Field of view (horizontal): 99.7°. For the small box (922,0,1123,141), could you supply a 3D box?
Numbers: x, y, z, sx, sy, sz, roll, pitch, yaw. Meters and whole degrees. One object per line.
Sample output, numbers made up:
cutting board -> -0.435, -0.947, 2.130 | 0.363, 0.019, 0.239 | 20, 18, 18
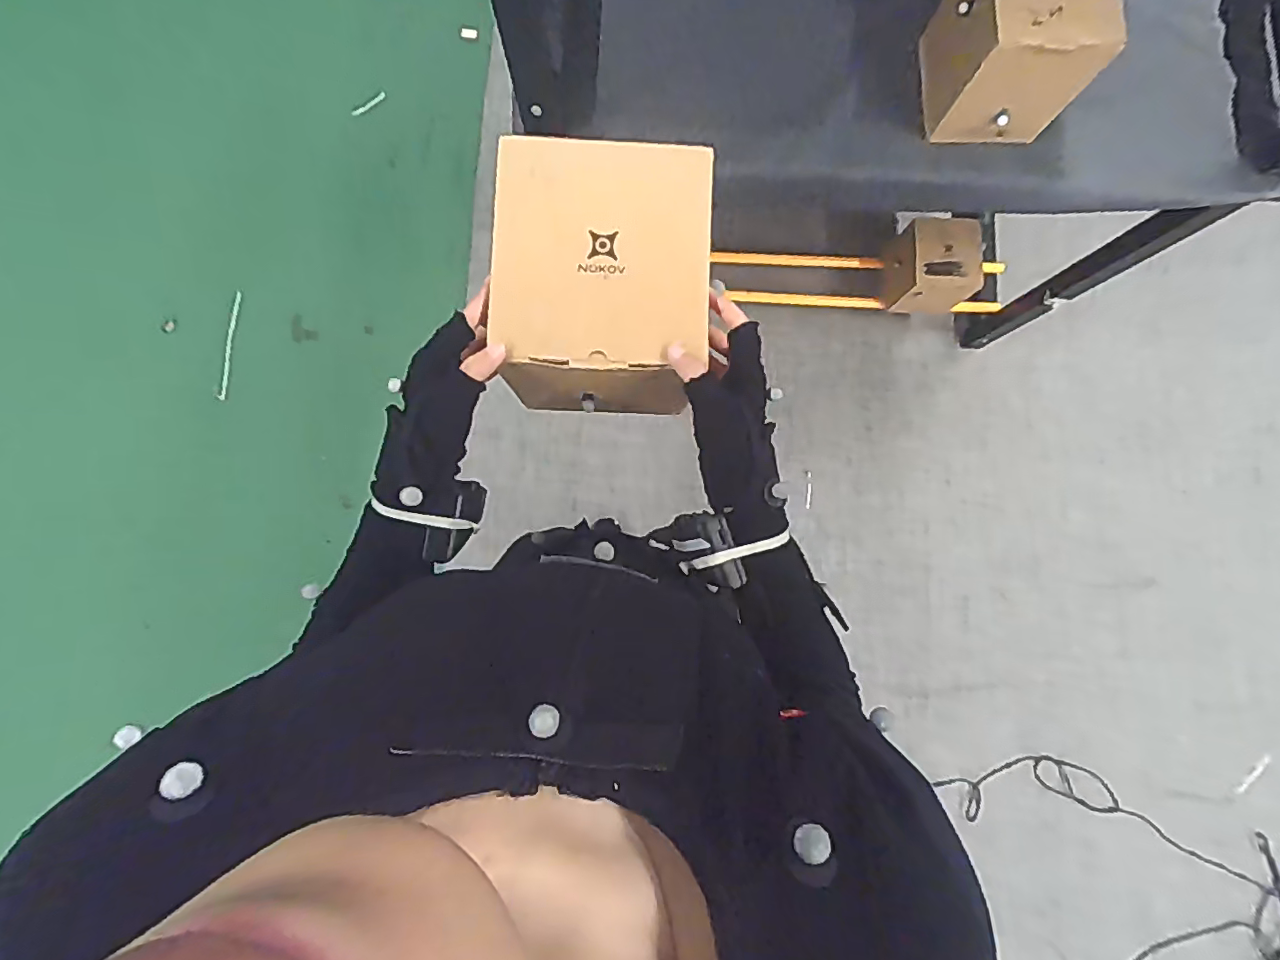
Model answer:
small box -> 0.526, -0.625, 0.770 | 0.168, 0.176, 0.179 | 0, 83, -1
